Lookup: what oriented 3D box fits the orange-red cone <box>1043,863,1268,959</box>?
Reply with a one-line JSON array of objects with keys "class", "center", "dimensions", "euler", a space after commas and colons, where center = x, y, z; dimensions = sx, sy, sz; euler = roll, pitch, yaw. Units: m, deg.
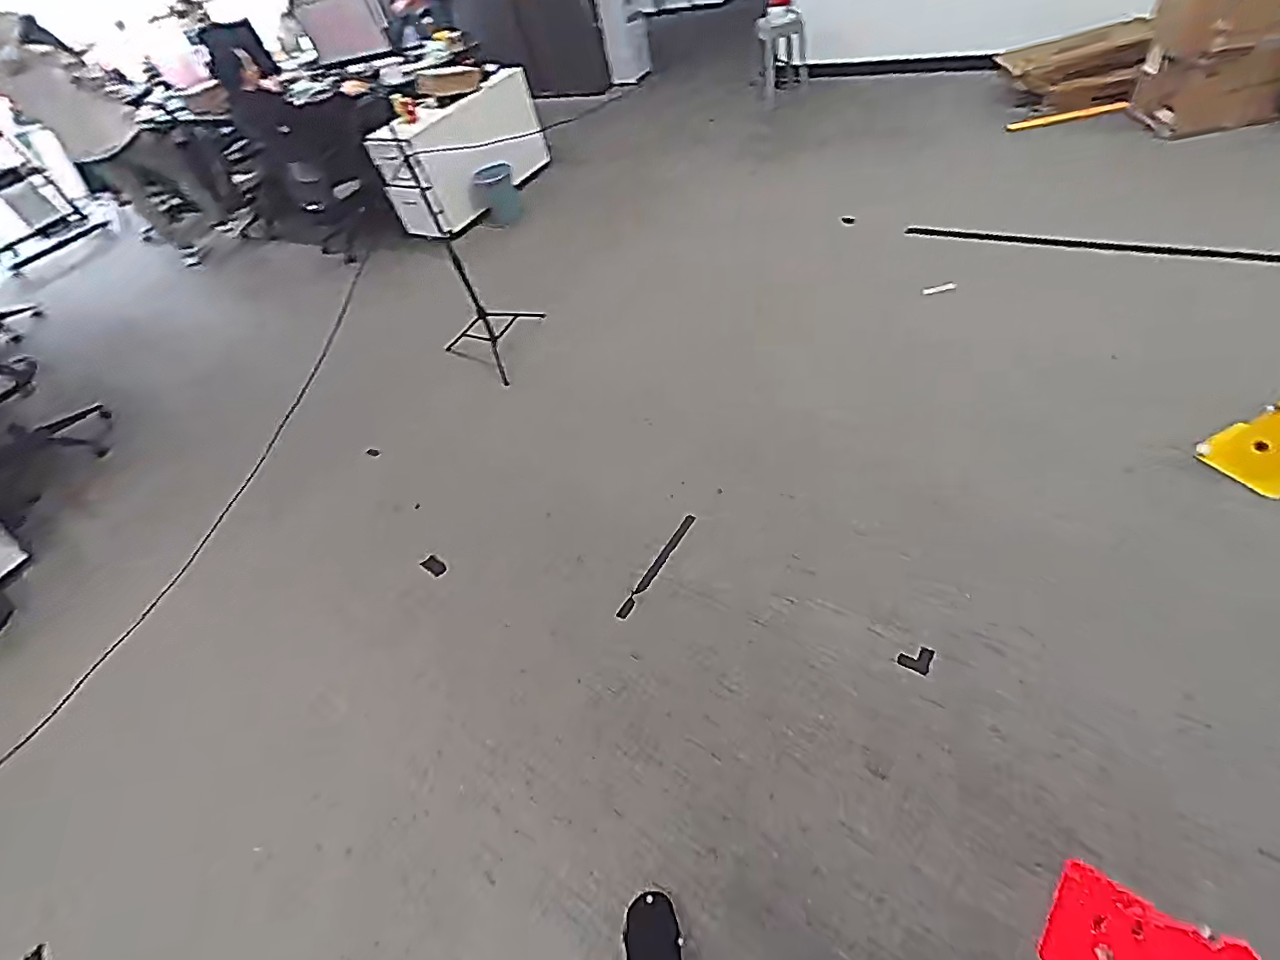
[{"class": "orange-red cone", "center": [0.807, 0.713, 0.817], "dimensions": [0.198, 0.360, 0.199], "euler": [29, 62, 32]}]
